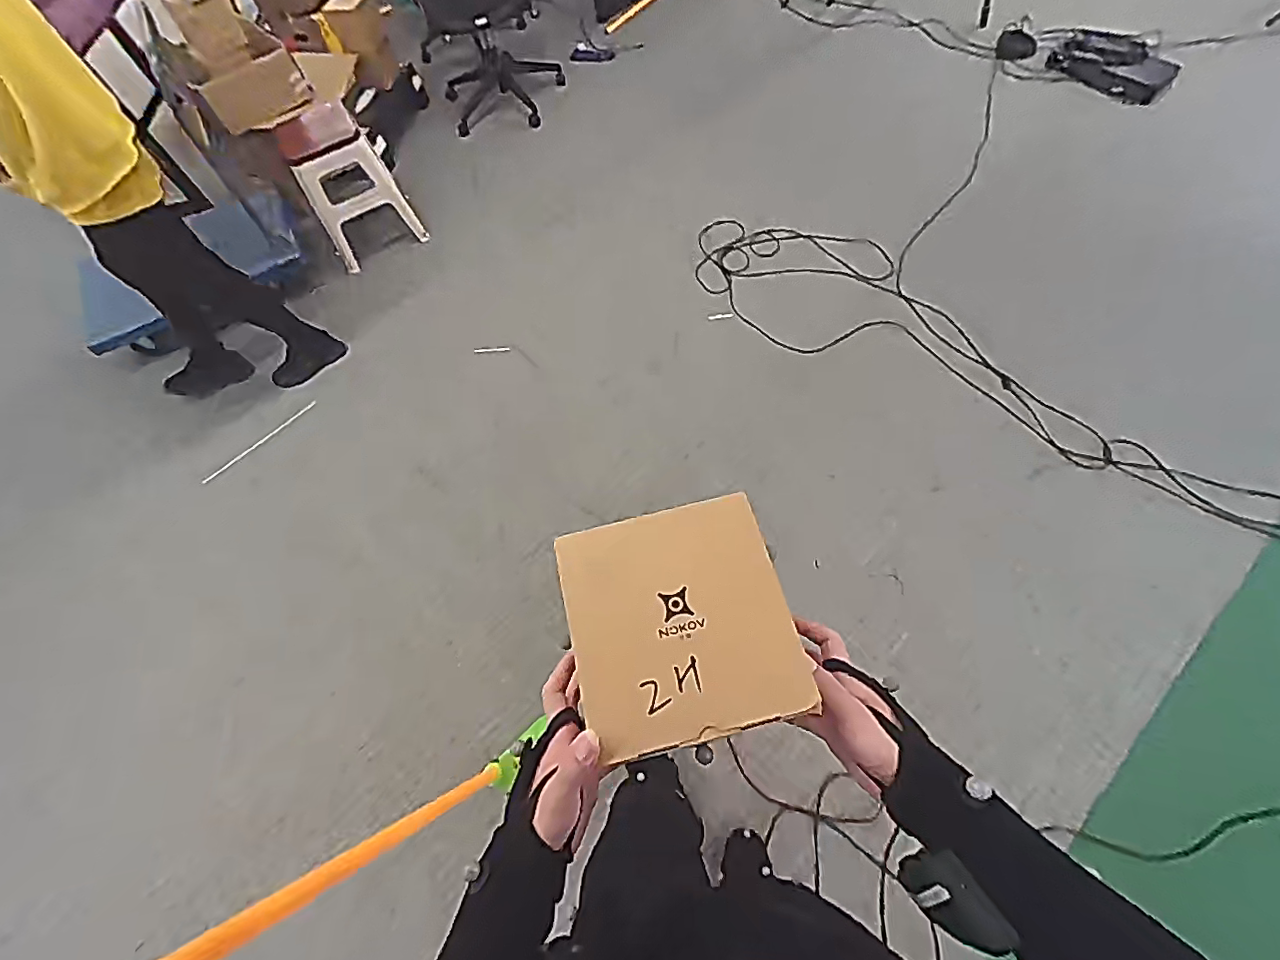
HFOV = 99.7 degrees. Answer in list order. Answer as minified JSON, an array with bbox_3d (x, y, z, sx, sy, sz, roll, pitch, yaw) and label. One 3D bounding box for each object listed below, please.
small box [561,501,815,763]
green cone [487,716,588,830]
[{"bbox_3d":[0.033,0.144,0.489,0.168,0.176,0.179,-13,63,-2],"label":"small box"},{"bbox_3d":[-0.278,0.676,1.250,0.202,0.368,0.200,-41,66,-15],"label":"green cone"}]
